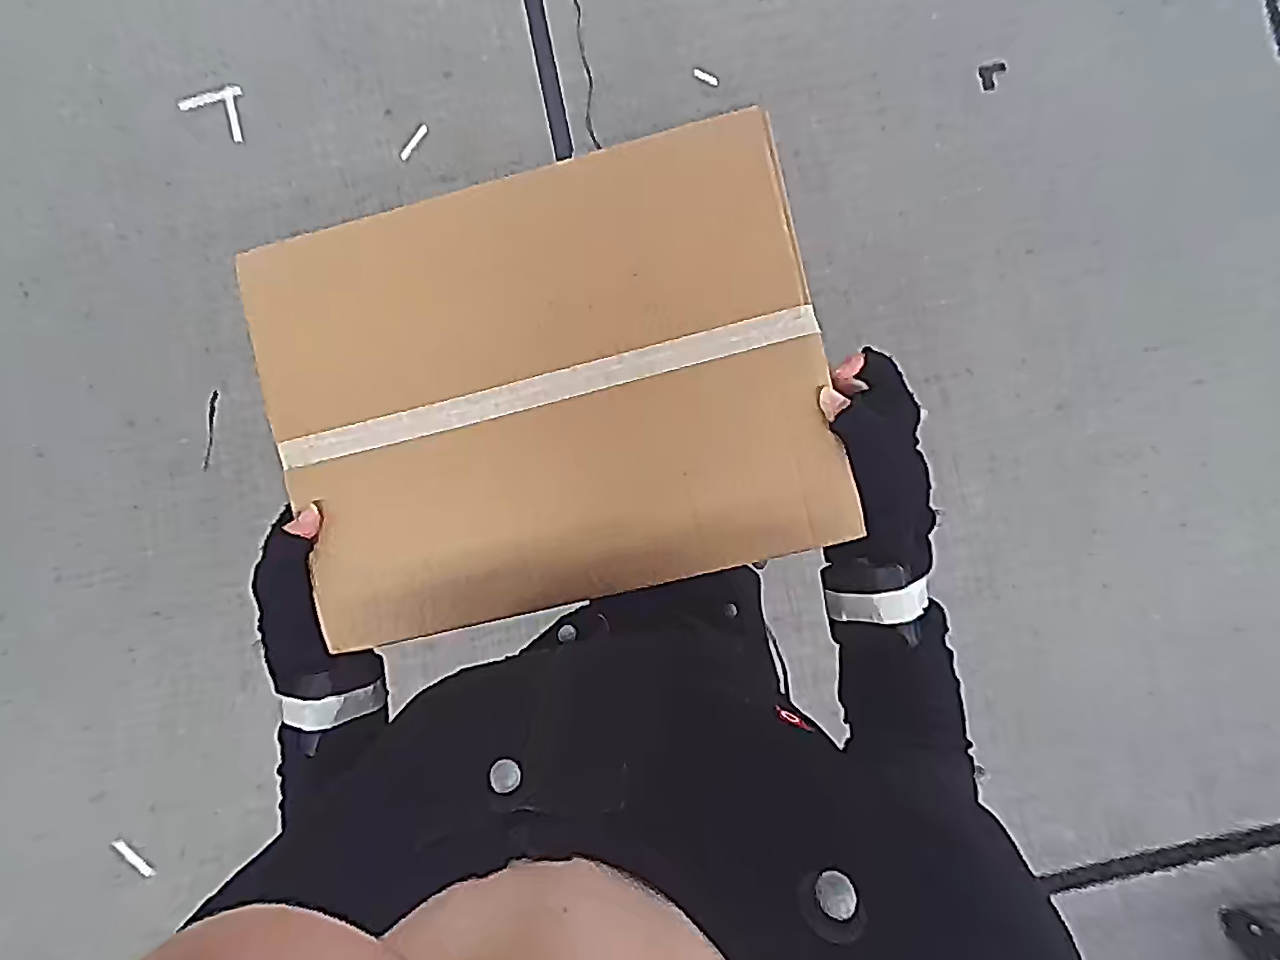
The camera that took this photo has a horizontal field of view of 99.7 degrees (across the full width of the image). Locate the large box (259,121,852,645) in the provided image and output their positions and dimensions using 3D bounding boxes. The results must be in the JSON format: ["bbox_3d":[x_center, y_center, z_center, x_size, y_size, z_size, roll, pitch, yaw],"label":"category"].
[{"bbox_3d":[-0.059,-0.070,0.554,0.408,0.320,0.320,-14,89,5],"label":"large box"}]
